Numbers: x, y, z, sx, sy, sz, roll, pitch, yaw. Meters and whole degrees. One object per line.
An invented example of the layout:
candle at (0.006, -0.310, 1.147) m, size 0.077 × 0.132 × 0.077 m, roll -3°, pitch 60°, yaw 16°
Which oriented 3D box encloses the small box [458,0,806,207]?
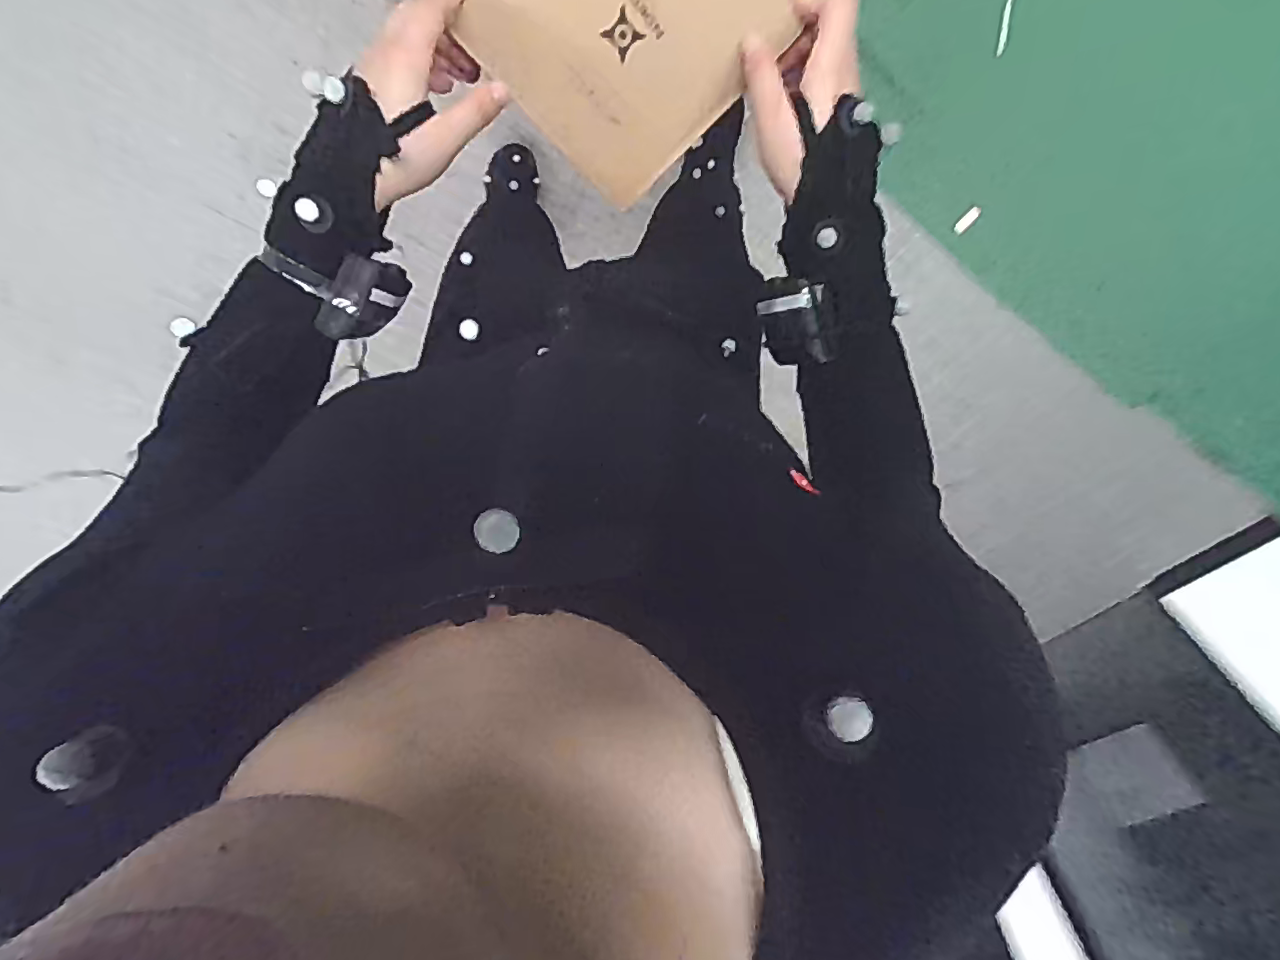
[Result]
small box at (-0.007, -0.360, 0.407) m, size 0.179 × 0.176 × 0.168 m, roll -32°, pitch 131°, yaw 32°
